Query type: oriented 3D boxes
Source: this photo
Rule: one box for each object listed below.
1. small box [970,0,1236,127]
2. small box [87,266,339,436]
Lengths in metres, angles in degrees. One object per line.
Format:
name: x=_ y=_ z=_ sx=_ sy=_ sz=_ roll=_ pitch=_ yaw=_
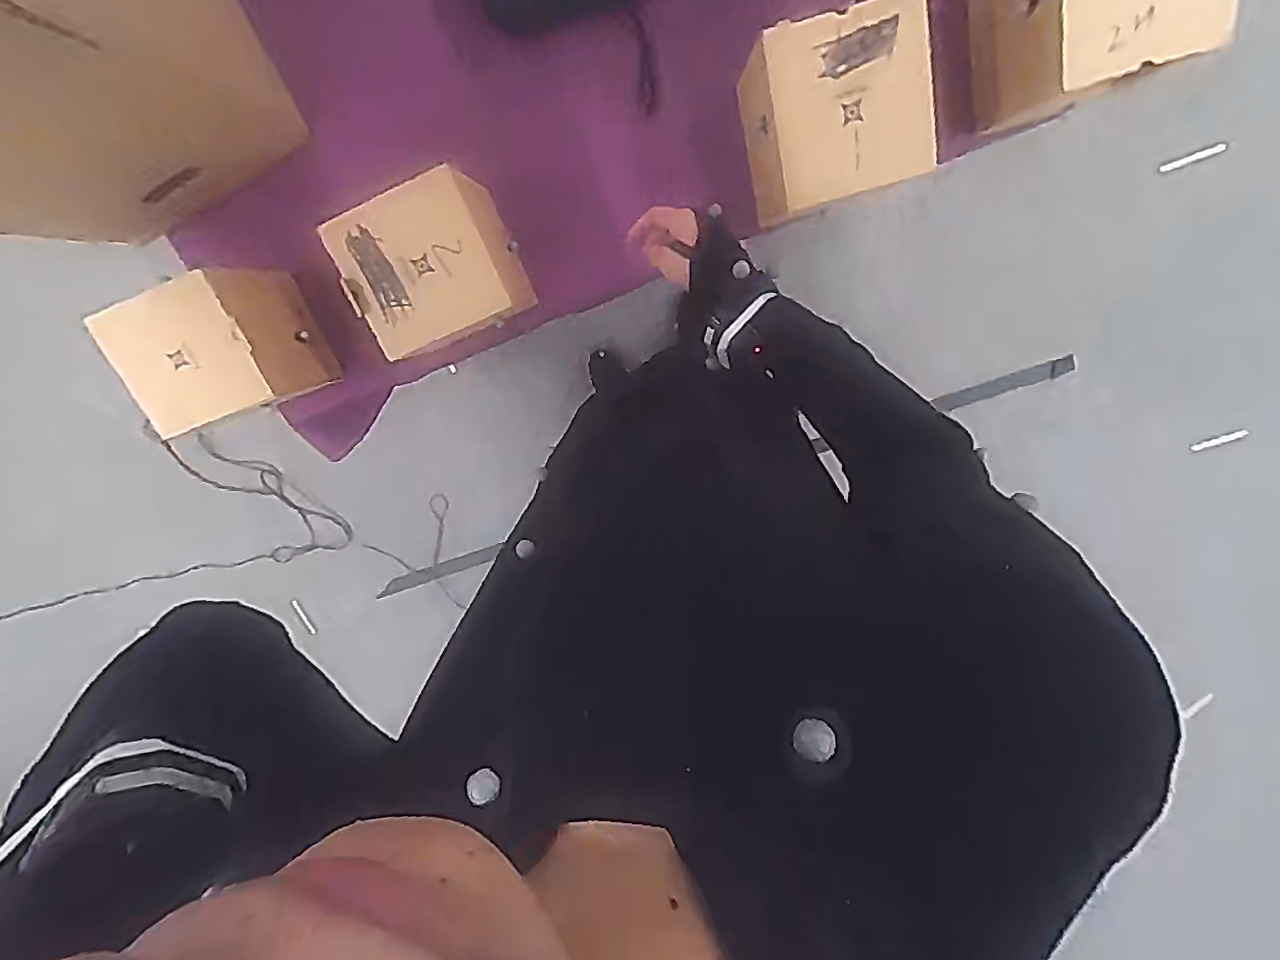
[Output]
small box: x=0.492 y=-0.529 z=0.596 sx=0.168 sy=0.176 sz=0.179 roll=-13 pitch=109 yaw=7
small box: x=-0.568 y=-0.180 z=0.749 sx=0.179 sy=0.176 sz=0.168 roll=-20 pitch=108 yaw=7
